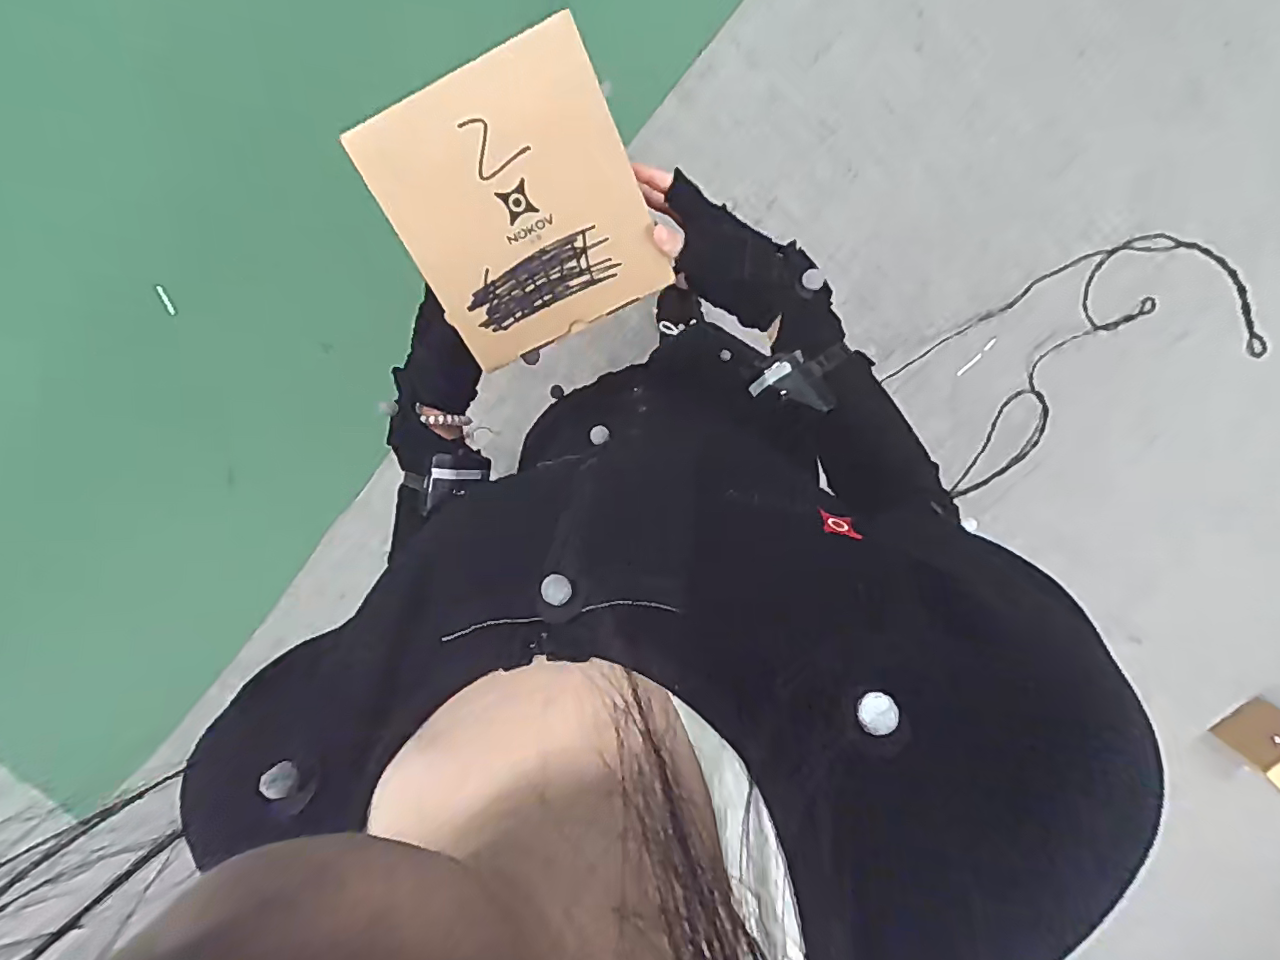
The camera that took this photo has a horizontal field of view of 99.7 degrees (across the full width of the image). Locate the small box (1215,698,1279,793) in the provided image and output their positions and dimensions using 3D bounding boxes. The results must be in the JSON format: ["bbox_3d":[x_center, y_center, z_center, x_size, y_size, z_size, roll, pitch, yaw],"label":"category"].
[{"bbox_3d":[1.801,0.763,1.526,0.168,0.176,0.179,40,102,-7],"label":"small box"}]
